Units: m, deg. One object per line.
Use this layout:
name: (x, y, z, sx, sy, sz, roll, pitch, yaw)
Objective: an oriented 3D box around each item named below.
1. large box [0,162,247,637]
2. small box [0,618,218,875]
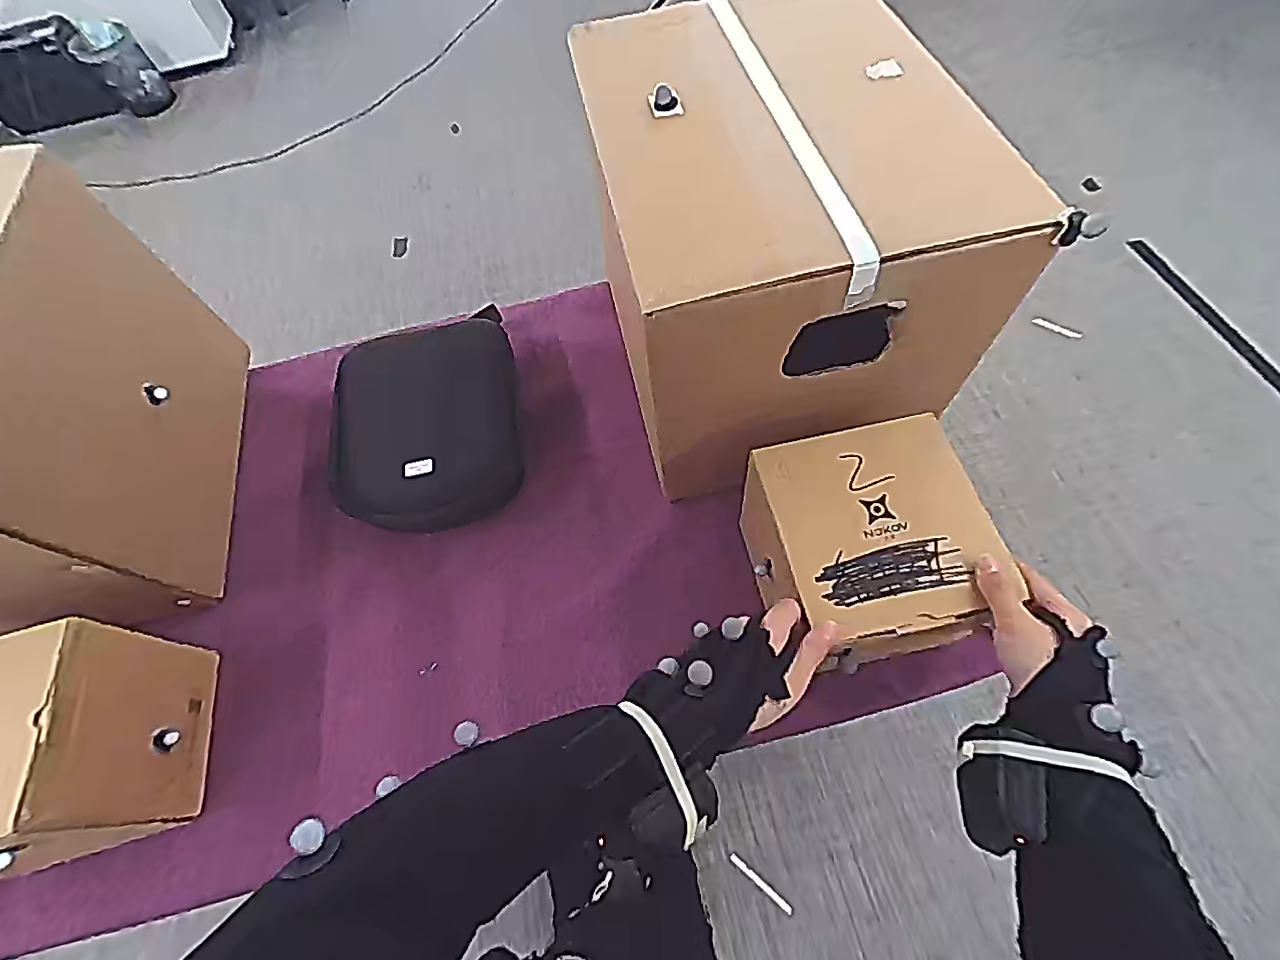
large box: (-0.689, -0.053, 0.586, 0.320, 0.320, 0.408, -15, 64, -4)
small box: (-0.543, 0.249, 0.494, 0.179, 0.176, 0.168, -16, 61, -4)
